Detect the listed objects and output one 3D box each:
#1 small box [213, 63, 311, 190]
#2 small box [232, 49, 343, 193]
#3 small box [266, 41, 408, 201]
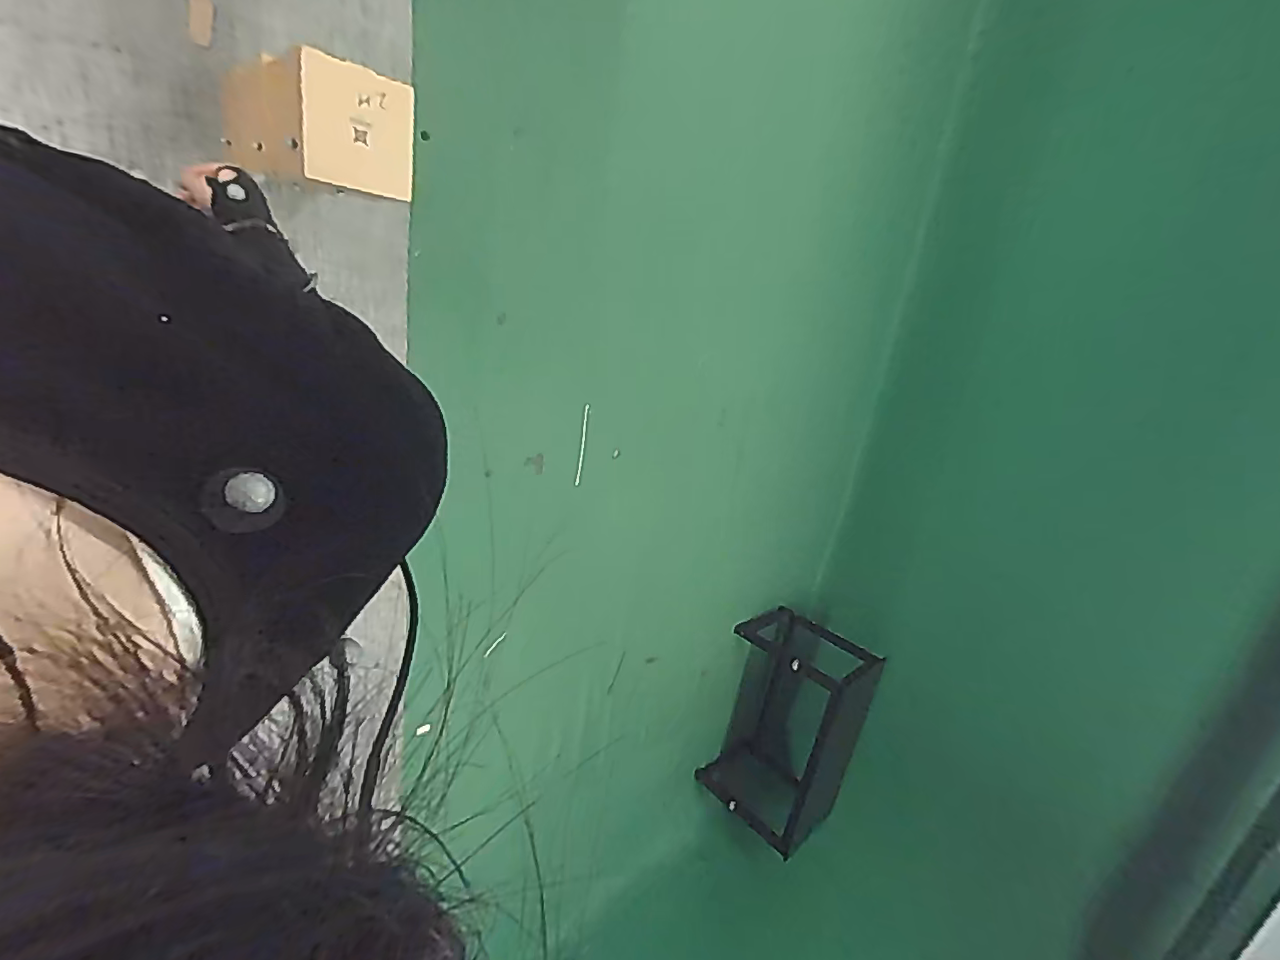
[{"bbox_3d":[-0.744,-0.697,1.093,0.179,0.176,0.168,-7,114,-46],"label":"small box"},{"bbox_3d":[-0.628,-0.643,0.993,0.168,0.176,0.179,-10,118,-44],"label":"small box"},{"bbox_3d":[-0.506,-0.581,0.901,0.168,0.176,0.179,-10,117,-45],"label":"small box"}]
